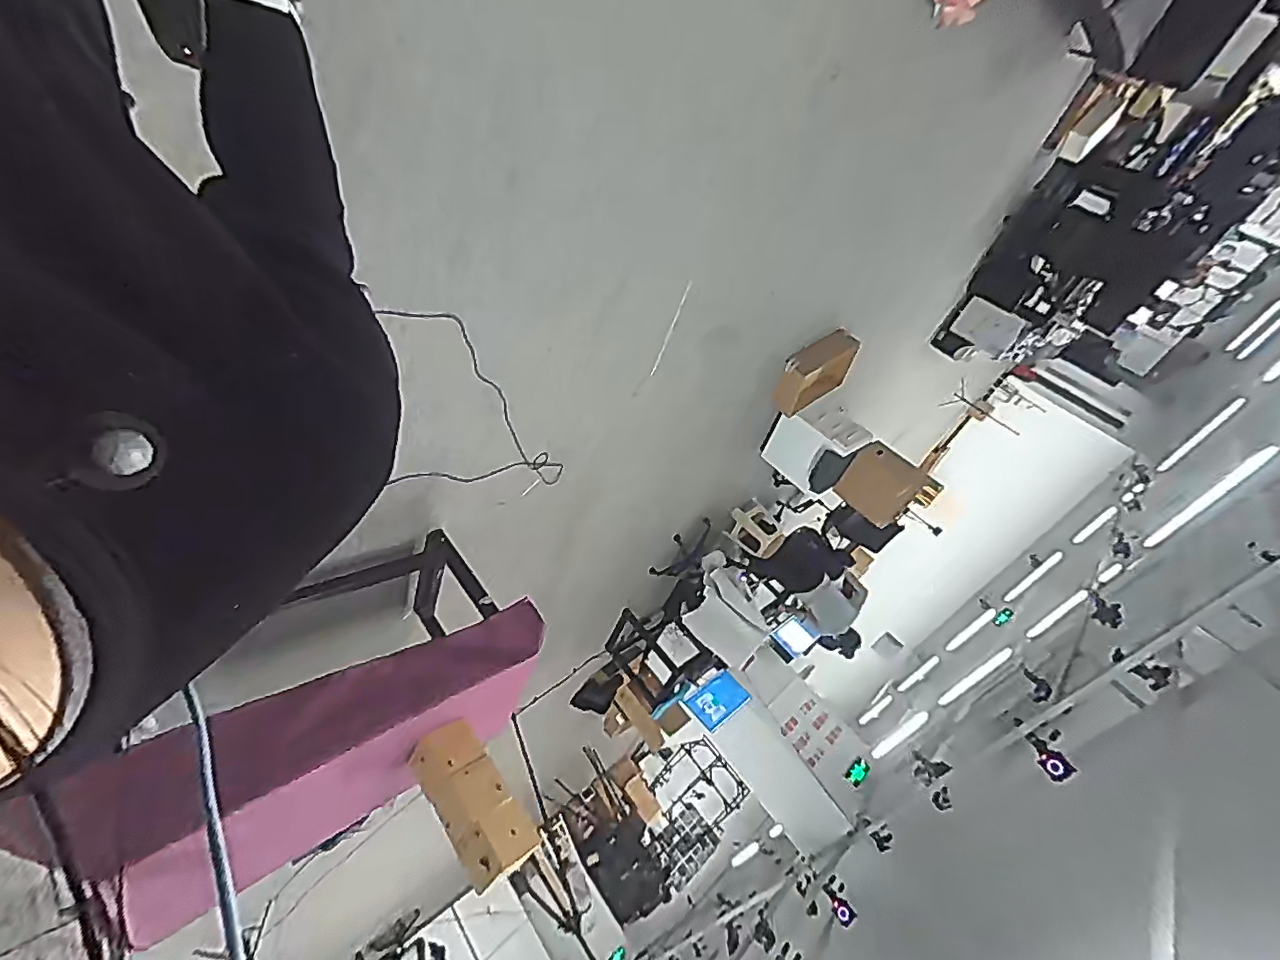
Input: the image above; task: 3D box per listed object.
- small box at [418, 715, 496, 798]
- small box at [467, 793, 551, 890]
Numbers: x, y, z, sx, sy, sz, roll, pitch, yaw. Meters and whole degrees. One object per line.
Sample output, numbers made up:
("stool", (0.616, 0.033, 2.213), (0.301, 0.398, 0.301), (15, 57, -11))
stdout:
("small box", (-0.648, 0.969, 1.913), (0.179, 0.176, 0.168), (-5, 133, -52))
("small box", (-0.436, 1.186, 1.784), (0.168, 0.176, 0.179), (-54, 153, 19))
